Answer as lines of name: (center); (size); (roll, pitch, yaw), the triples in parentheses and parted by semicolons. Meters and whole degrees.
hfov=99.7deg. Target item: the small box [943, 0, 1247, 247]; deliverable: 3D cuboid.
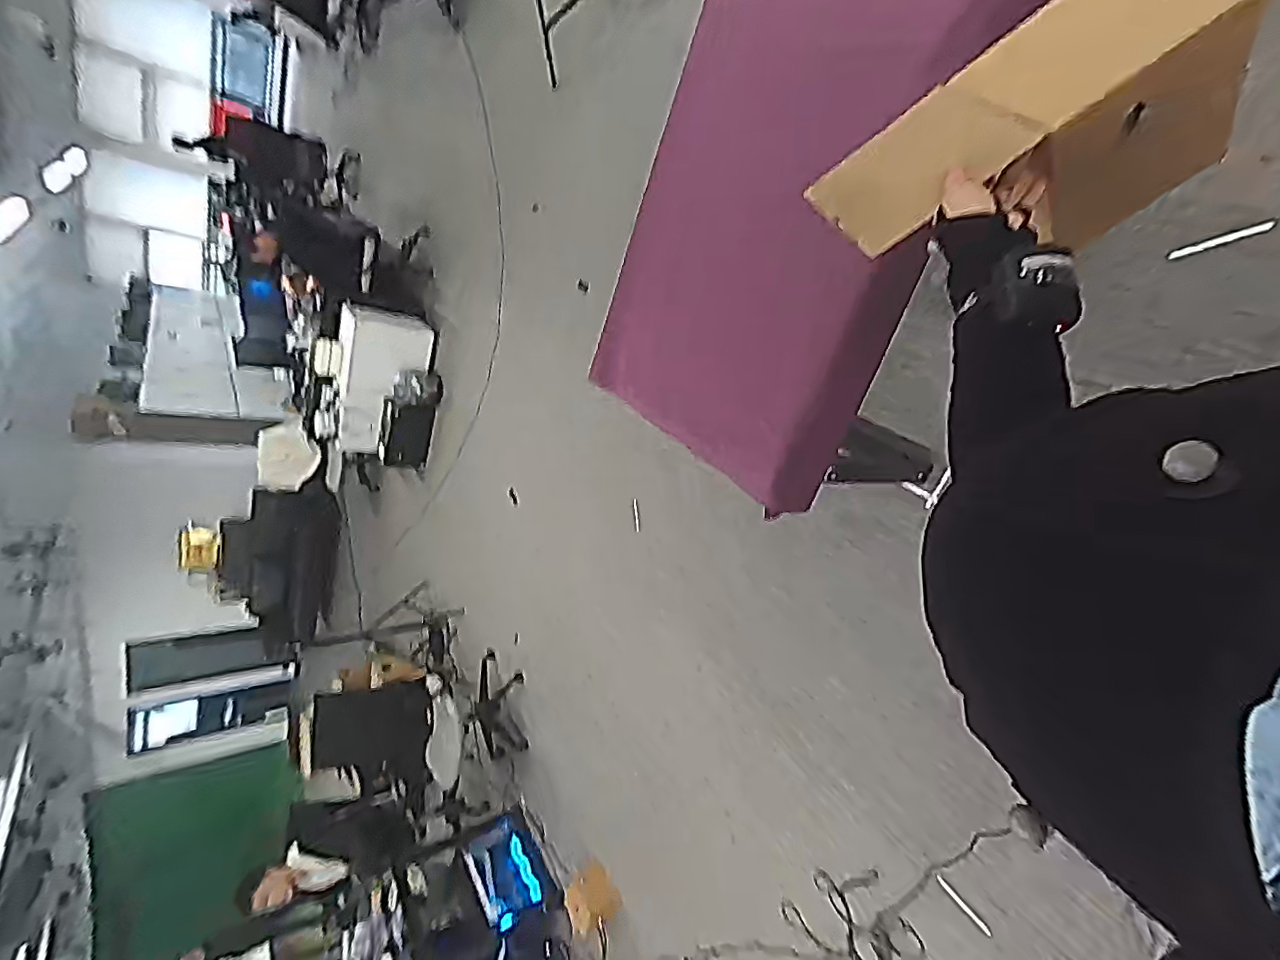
small box: (0.460, -0.384, 0.563); (0.179, 0.176, 0.168); (-34, 47, 19)
